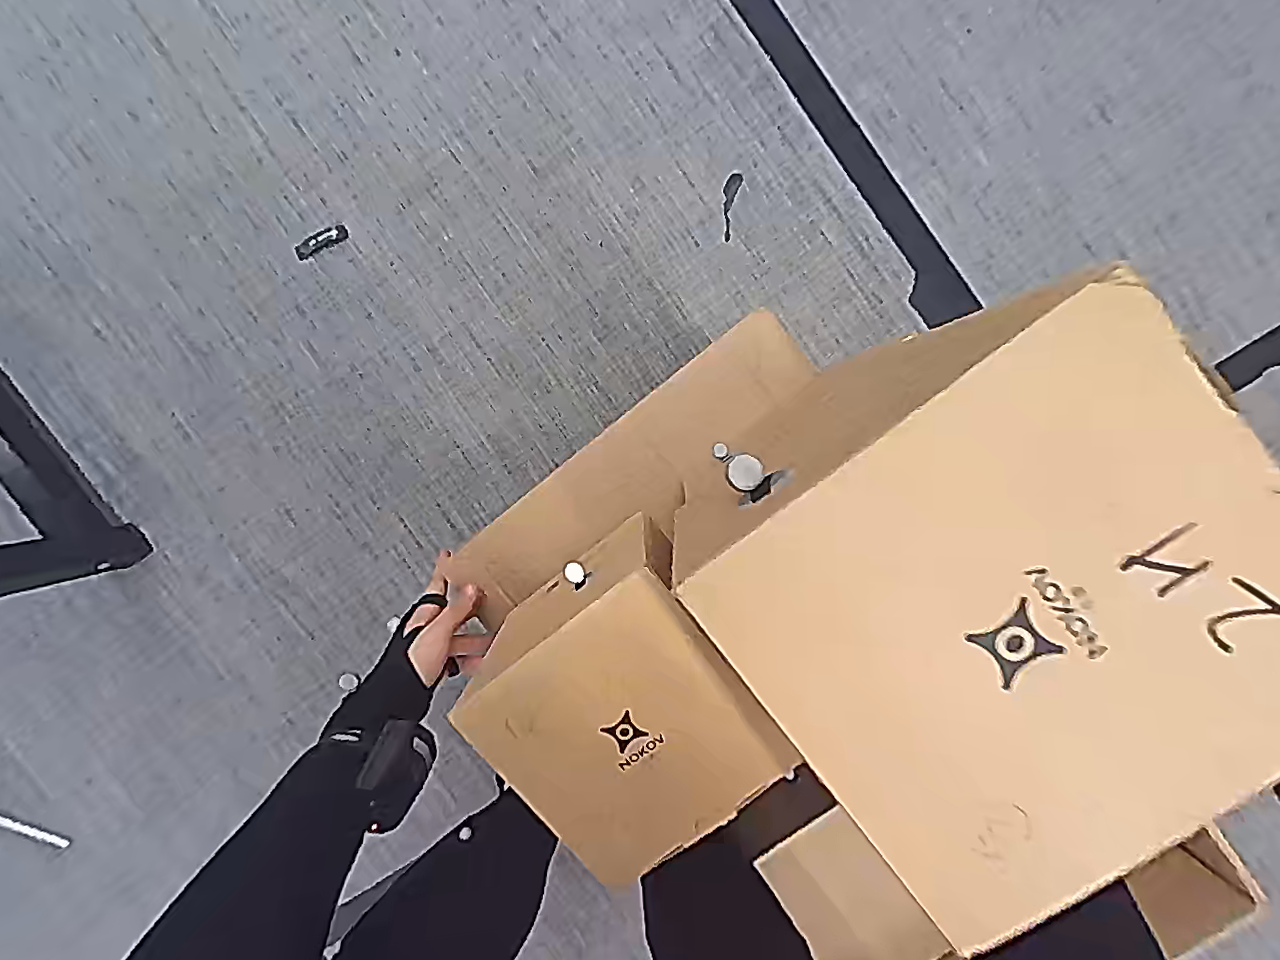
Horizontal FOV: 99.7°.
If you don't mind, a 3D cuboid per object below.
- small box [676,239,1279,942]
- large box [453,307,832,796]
[{"bbox_3d":[0.135,0.035,0.251,0.179,0.176,0.168,-38,92,6],"label":"small box"},{"bbox_3d":[0.067,0.065,0.668,0.408,0.320,0.320,-39,91,6],"label":"large box"}]
